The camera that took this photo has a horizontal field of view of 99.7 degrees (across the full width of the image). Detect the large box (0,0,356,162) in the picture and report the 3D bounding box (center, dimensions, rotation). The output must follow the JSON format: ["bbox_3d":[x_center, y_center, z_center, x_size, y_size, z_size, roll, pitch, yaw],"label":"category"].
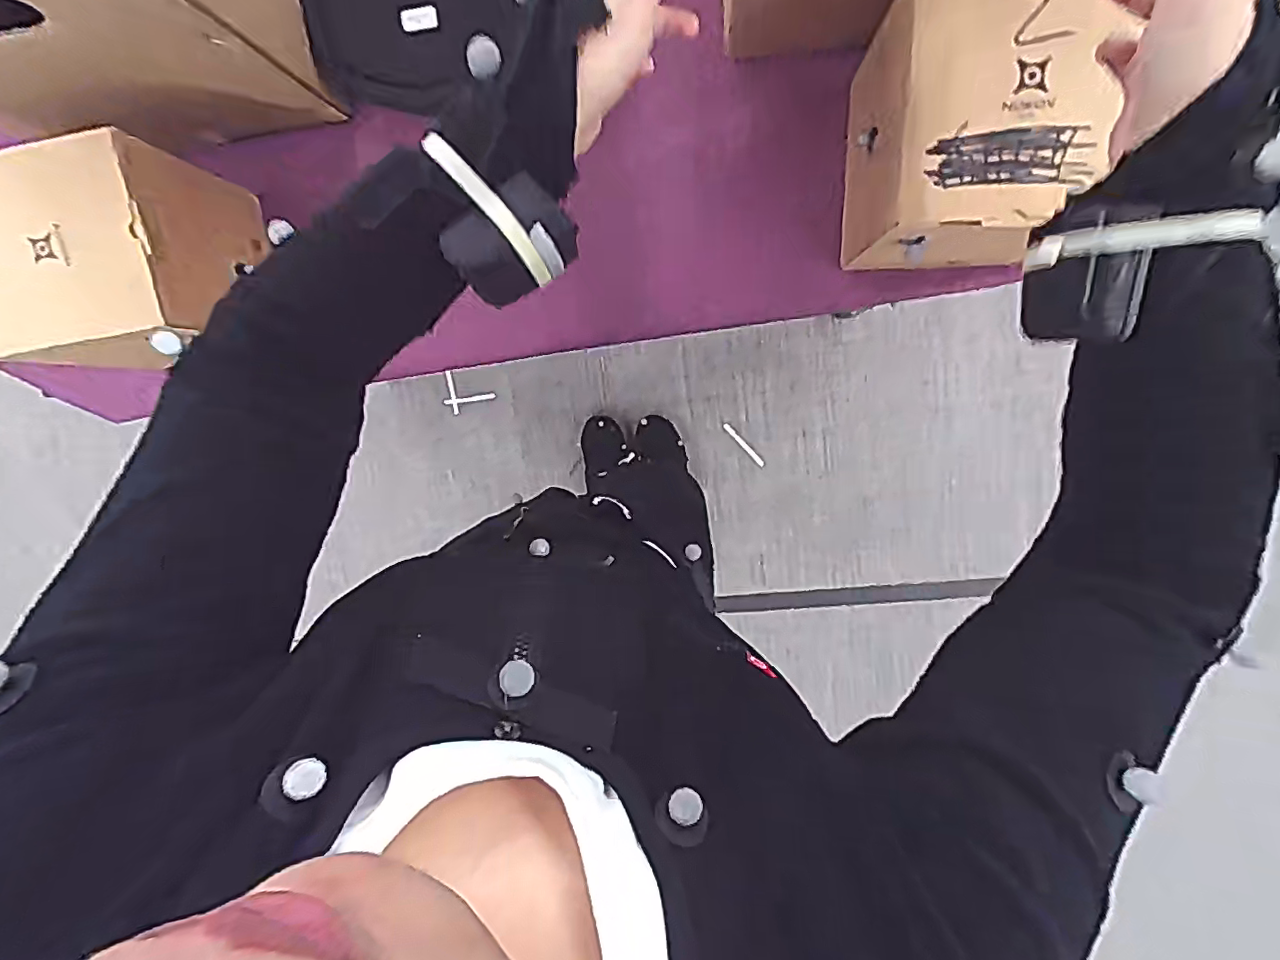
[{"bbox_3d":[-0.494,-0.540,0.424,0.320,0.320,0.408,-6,103,7],"label":"large box"}]
